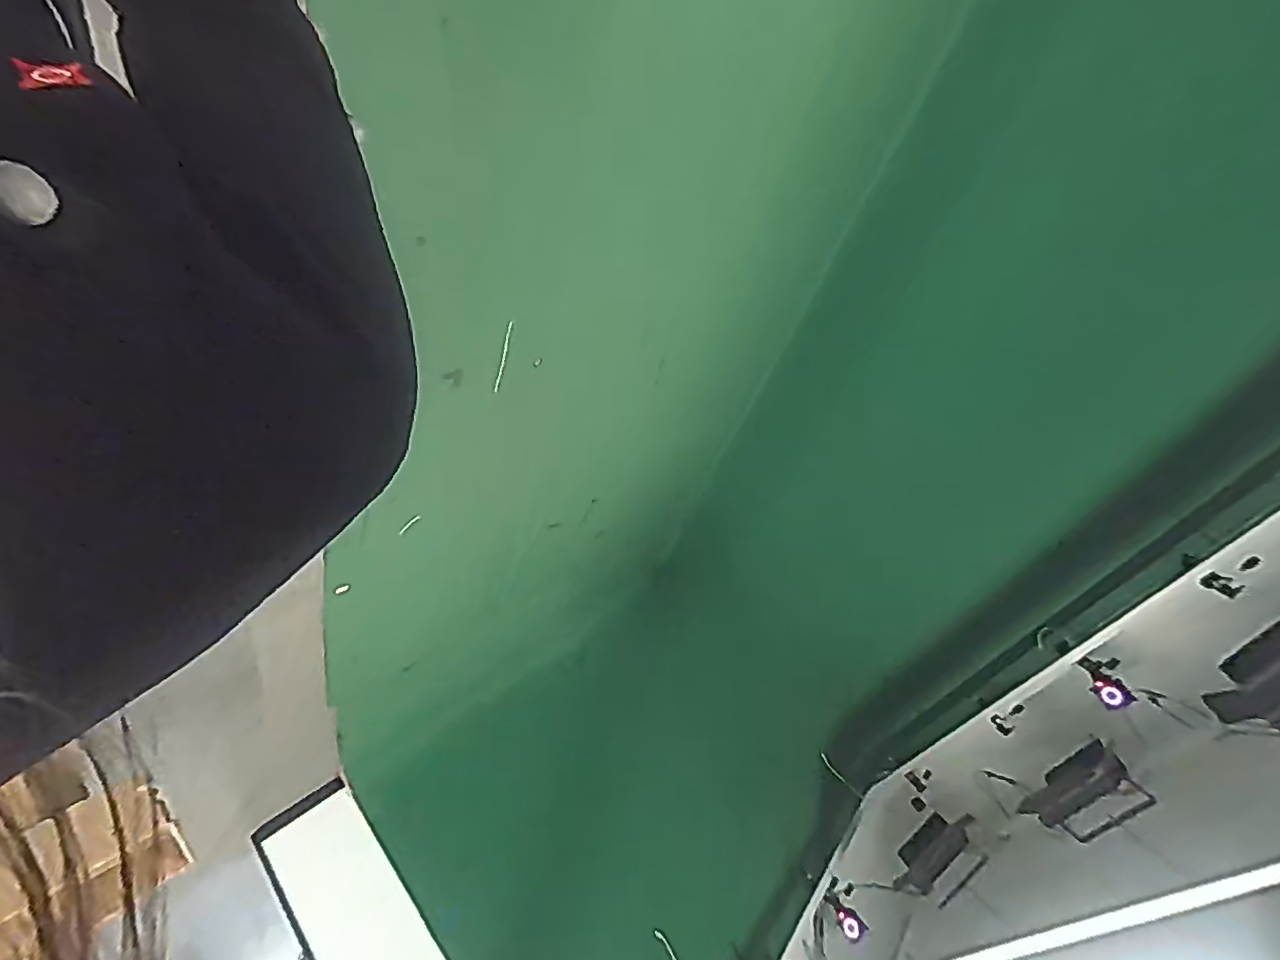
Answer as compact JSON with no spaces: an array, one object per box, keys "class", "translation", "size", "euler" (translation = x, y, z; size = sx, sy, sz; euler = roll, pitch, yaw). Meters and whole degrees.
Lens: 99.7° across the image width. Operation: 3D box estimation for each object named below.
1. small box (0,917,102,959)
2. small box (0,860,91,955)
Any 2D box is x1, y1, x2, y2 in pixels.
[{"class":"small box","translation":[-1.475,1.234,1.339],"size":[0.168,0.176,0.179],"euler":[-29,151,-40]},{"class":"small box","translation":[-1.587,1.130,1.399],"size":[0.168,0.176,0.179],"euler":[-30,153,-40]}]
